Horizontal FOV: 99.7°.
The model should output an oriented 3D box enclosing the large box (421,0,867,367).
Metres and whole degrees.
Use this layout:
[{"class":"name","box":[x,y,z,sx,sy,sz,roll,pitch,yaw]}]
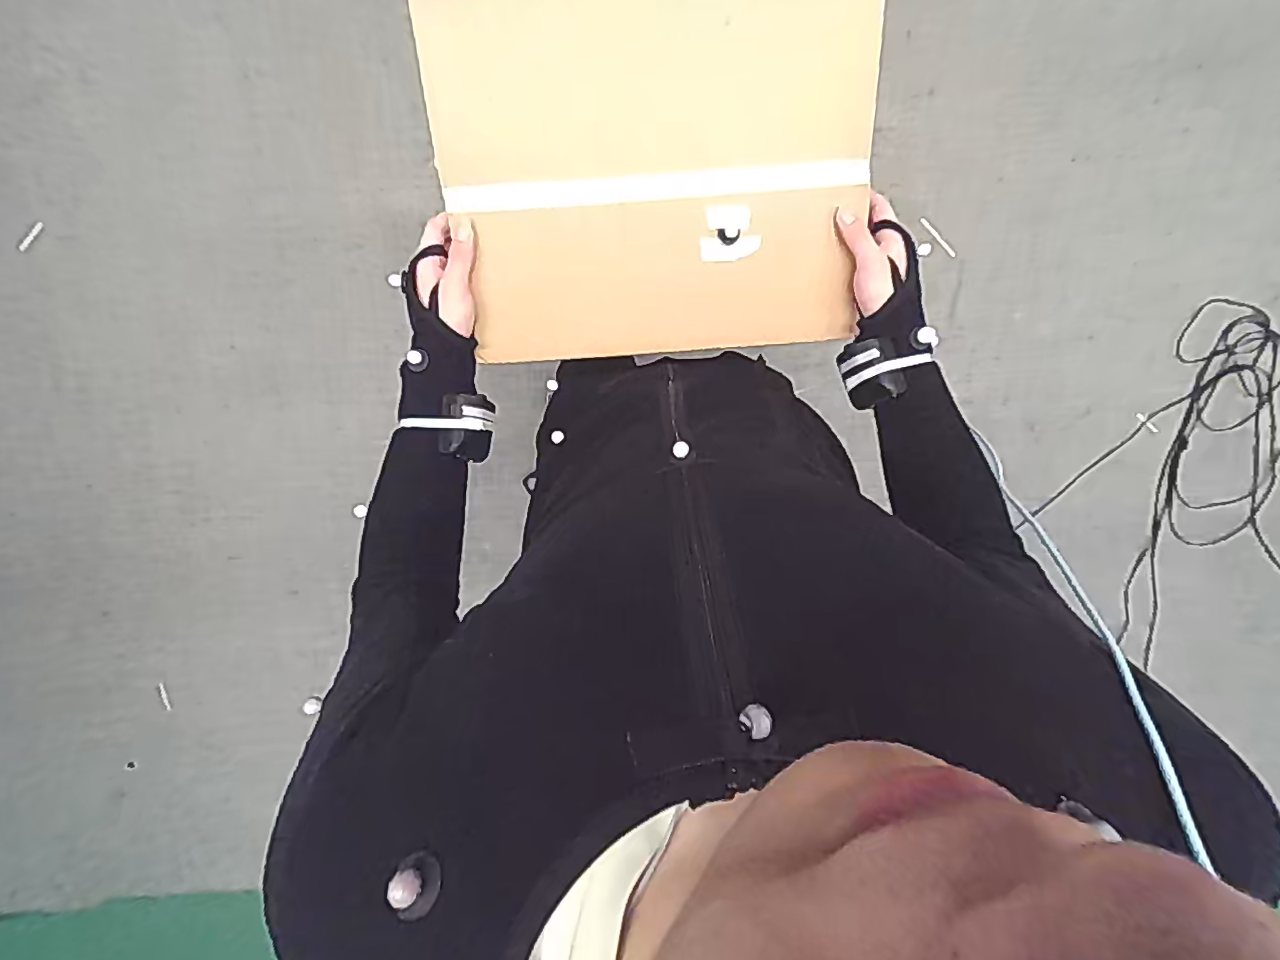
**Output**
[{"class":"large box","box":[0.007,-0.337,0.667,0.408,0.320,0.320,-5,113,-1]}]
